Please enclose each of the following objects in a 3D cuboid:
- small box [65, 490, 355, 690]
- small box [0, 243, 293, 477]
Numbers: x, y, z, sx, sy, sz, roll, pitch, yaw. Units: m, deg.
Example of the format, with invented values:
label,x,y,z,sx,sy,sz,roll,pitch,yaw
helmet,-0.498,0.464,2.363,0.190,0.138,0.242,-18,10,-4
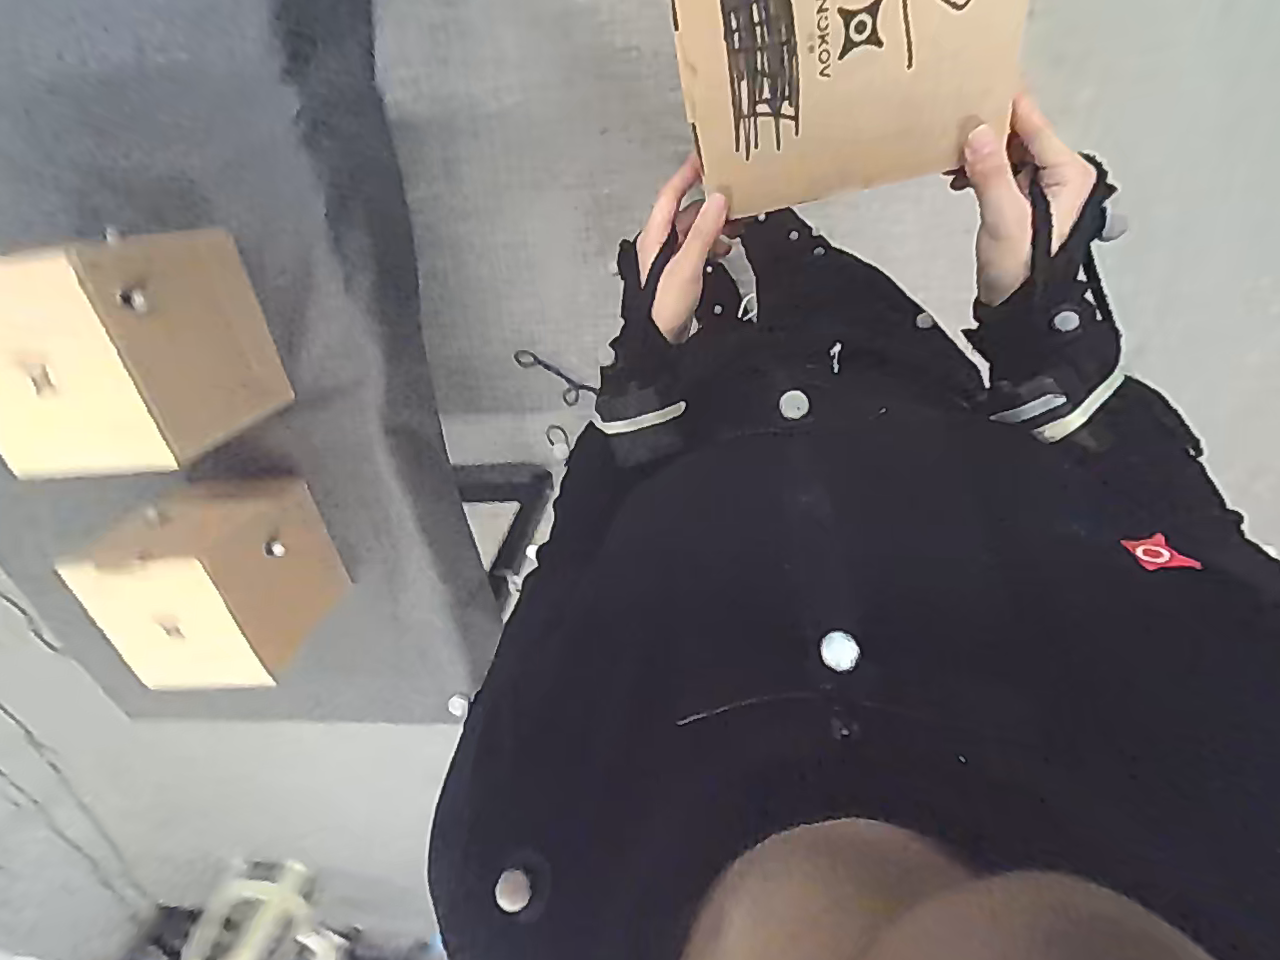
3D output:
label,x,y,z,sx,sy,sz,roll,pitch,yaw
small box,-0.482,0.121,0.641,0.168,0.176,0.179,-4,118,8
small box,-0.480,-0.119,0.516,0.168,0.176,0.179,-3,117,7
